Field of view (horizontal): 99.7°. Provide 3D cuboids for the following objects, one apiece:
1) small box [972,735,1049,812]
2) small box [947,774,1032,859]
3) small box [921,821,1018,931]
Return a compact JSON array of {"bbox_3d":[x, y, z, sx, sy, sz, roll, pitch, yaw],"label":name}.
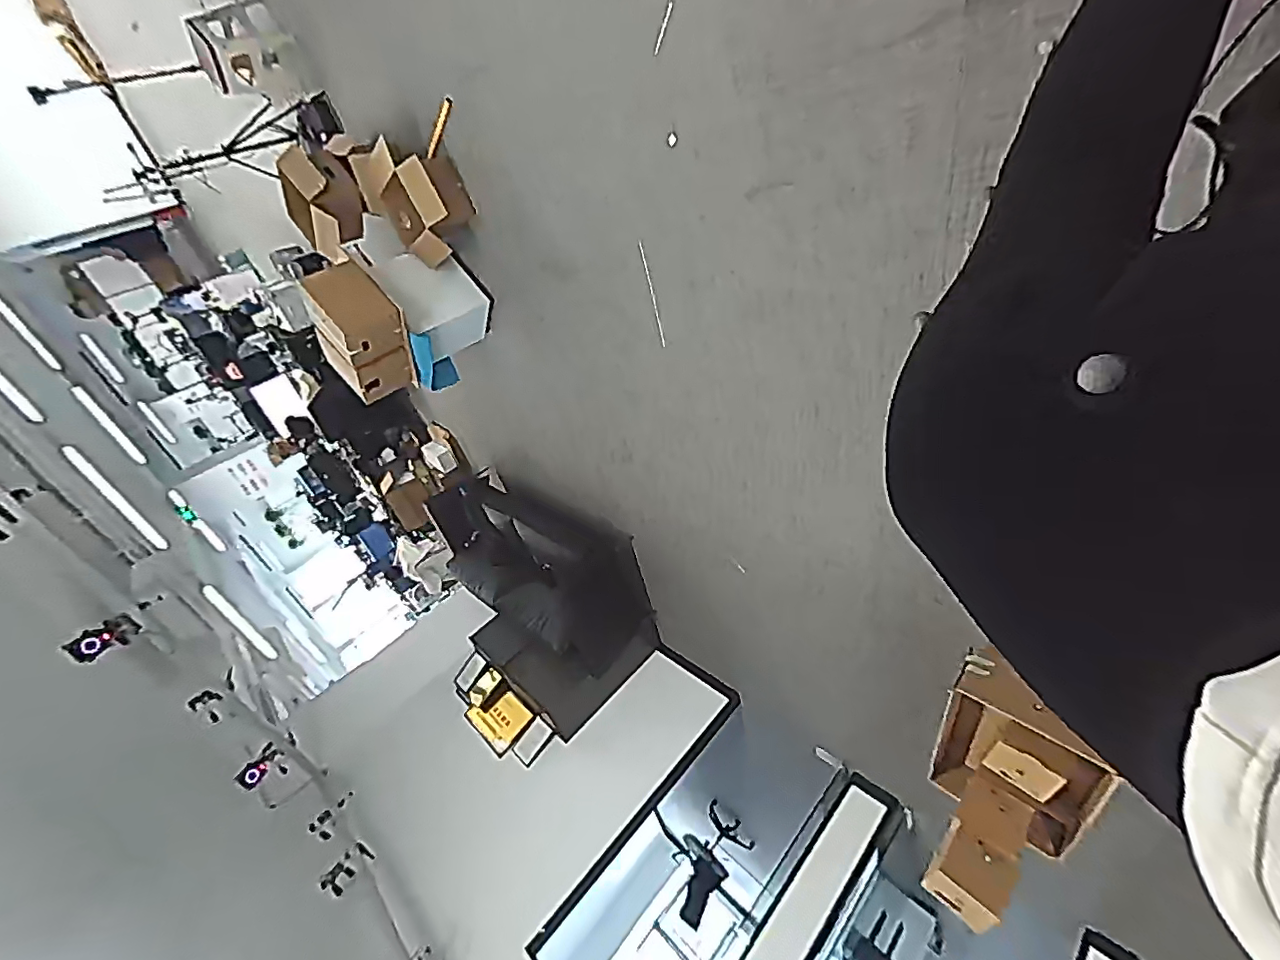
[{"bbox_3d":[1.166,0.958,1.718,0.168,0.176,0.179,22,138,40],"label":"small box"},{"bbox_3d":[1.054,1.041,1.634,0.168,0.176,0.179,23,138,41],"label":"small box"},{"bbox_3d":[0.946,1.132,1.551,0.168,0.176,0.179,30,142,33],"label":"small box"}]
